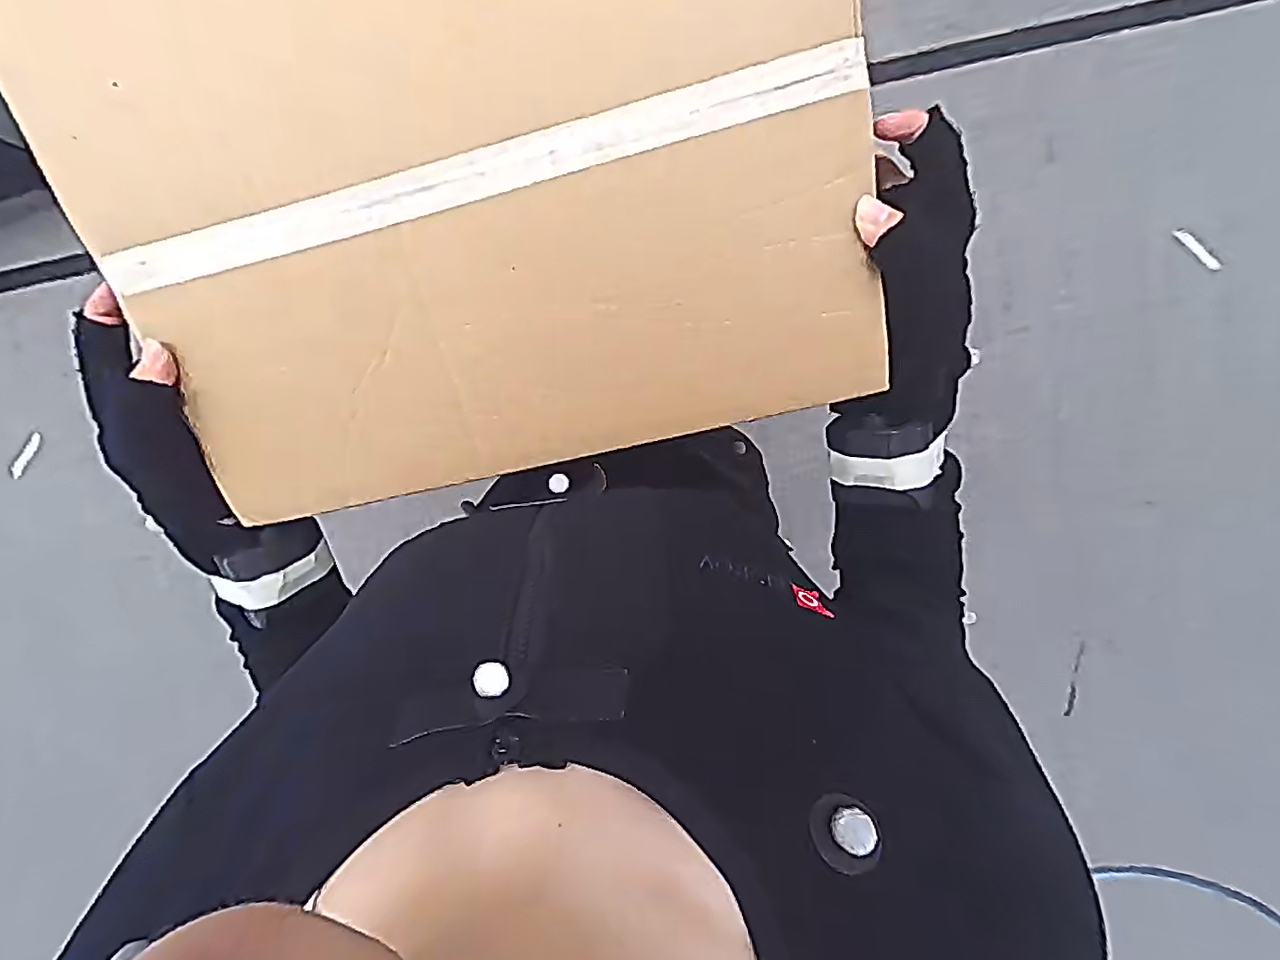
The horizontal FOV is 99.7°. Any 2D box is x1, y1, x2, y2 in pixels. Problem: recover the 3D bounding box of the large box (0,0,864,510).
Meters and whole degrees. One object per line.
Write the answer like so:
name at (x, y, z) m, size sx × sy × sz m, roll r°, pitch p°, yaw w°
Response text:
large box at (-0.090, -0.214, 0.422) m, size 0.408 × 0.320 × 0.320 m, roll -12°, pitch 110°, yaw 6°
